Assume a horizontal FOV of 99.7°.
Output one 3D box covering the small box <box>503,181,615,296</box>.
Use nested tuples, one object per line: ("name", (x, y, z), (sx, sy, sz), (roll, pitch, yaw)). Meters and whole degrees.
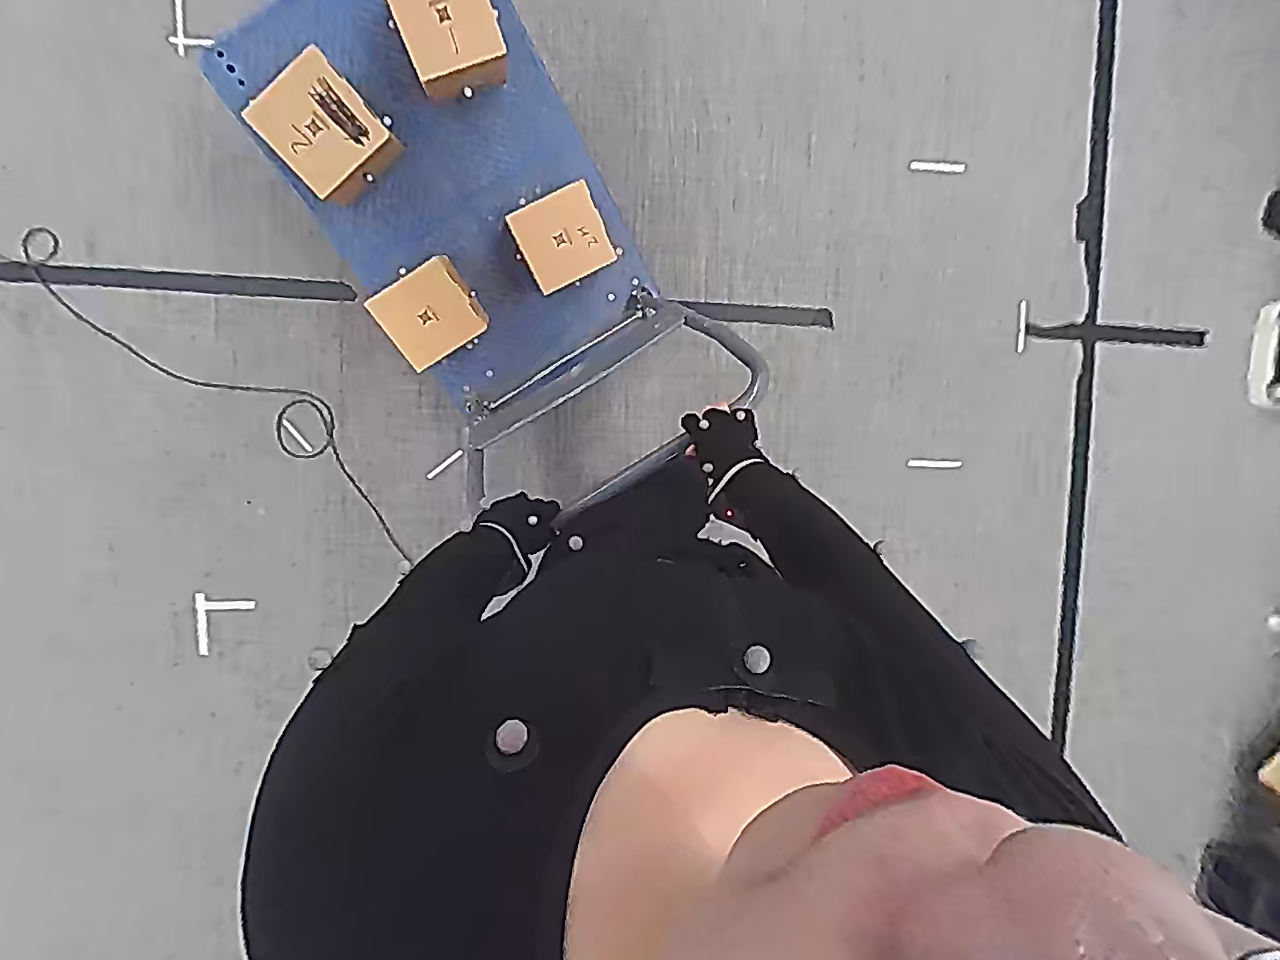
("small box", (-0.176, -0.512, 1.165), (0.179, 0.176, 0.168), (-28, 116, -2))

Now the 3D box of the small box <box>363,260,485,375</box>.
("small box", (-0.450, -0.351, 1.162), (0.179, 0.176, 0.168), (-34, 115, -1))

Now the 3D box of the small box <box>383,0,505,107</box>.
("small box", (-0.361, -0.826, 0.992), (0.168, 0.176, 0.179), (-23, 116, -4))
